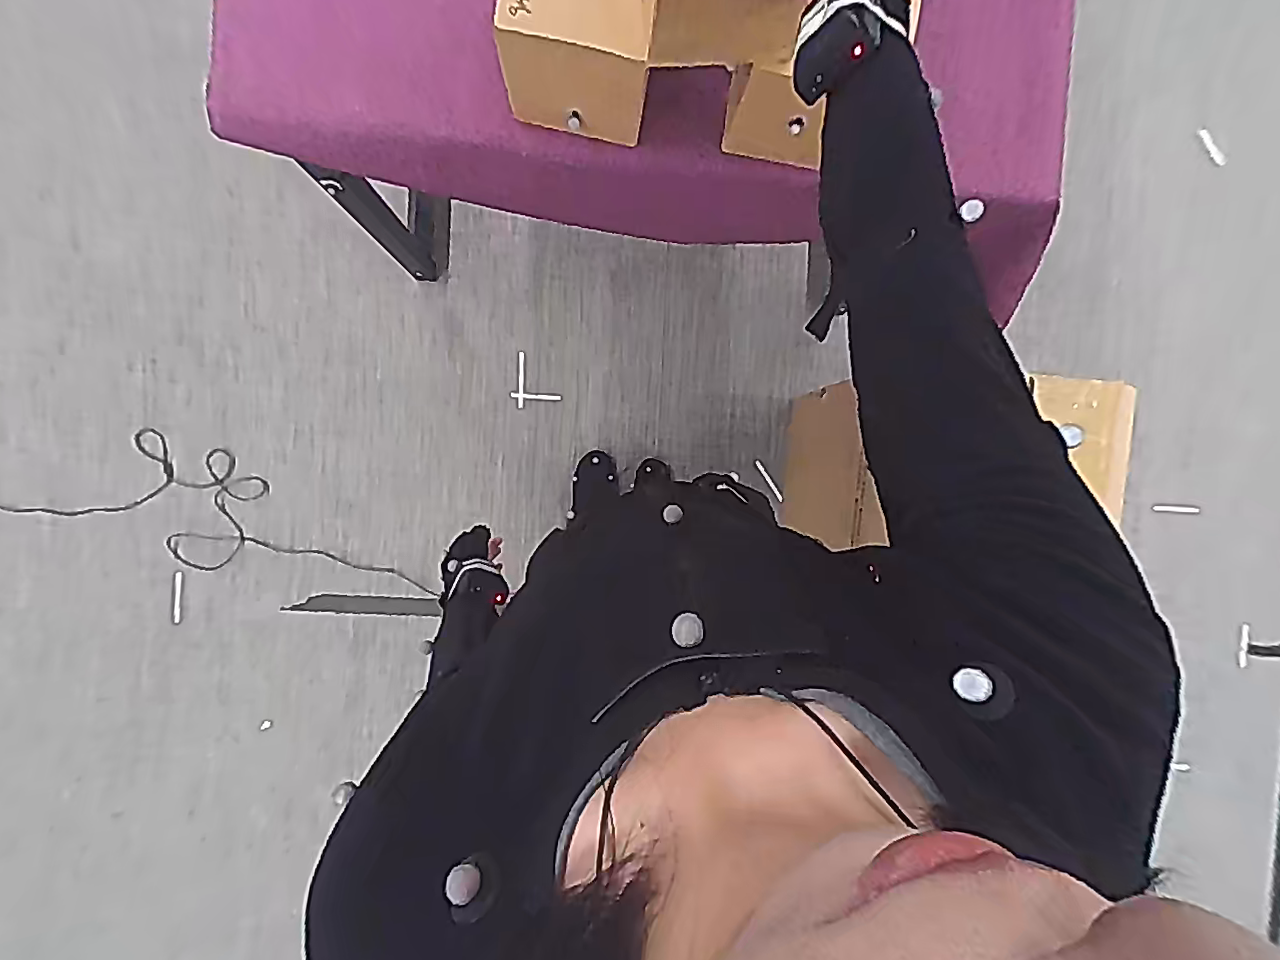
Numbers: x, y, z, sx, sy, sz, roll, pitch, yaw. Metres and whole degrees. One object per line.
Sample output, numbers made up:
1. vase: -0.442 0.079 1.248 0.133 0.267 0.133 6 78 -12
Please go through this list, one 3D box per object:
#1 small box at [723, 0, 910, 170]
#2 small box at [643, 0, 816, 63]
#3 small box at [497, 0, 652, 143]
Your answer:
1. small box: 0.221 -0.539 0.708 0.179 0.176 0.168 9 90 -4
2. small box: 0.091 -0.553 0.535 0.179 0.176 0.168 -6 93 -5
3. small box: -0.069 -0.566 0.686 0.179 0.176 0.168 10 90 -5
